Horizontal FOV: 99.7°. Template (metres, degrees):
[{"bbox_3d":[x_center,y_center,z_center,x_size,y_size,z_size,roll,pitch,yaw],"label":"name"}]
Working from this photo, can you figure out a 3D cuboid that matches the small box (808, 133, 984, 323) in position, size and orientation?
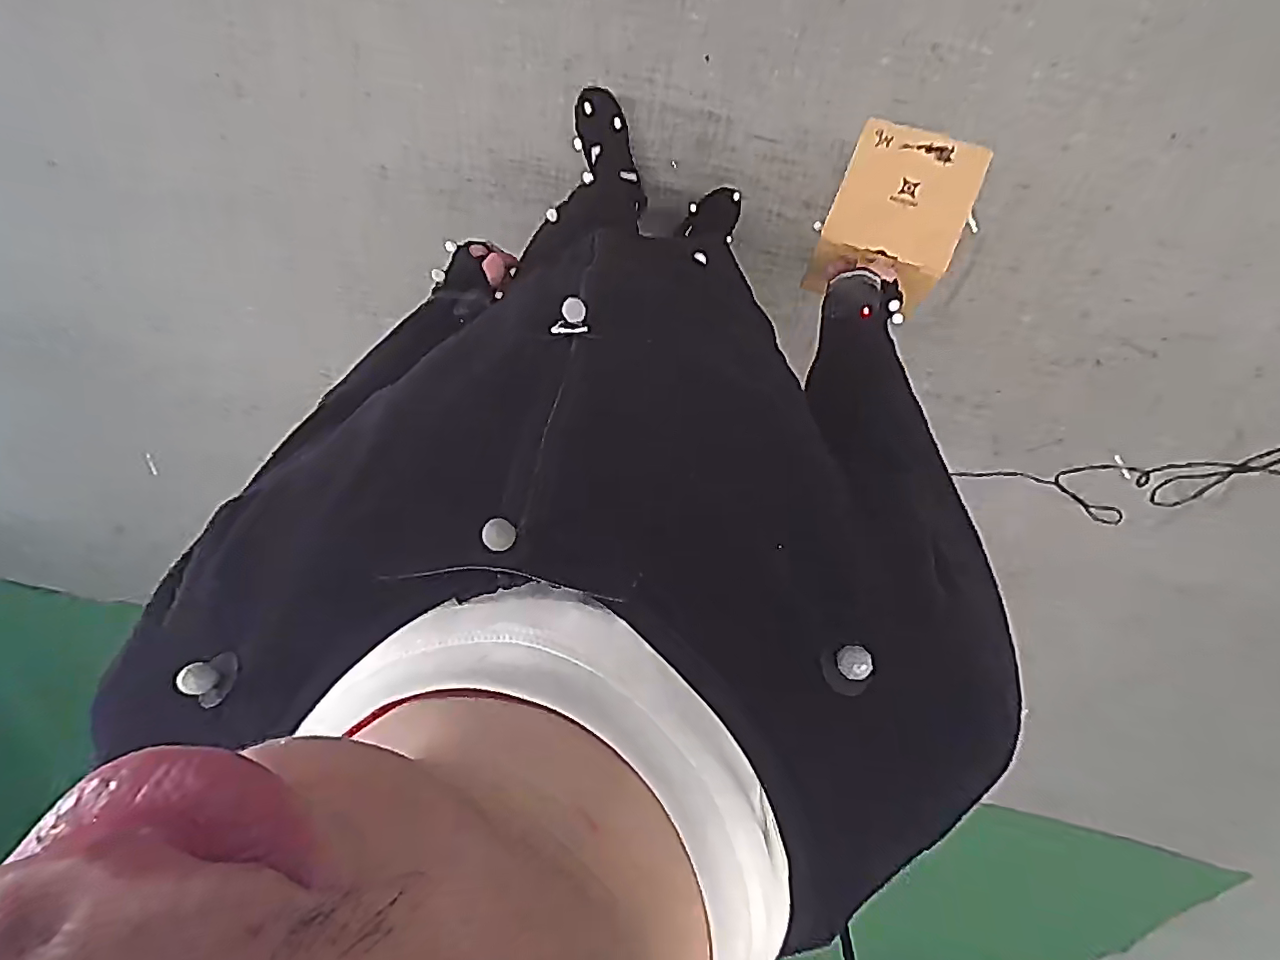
[{"bbox_3d":[0.355,-0.354,0.788,0.168,0.176,0.179,20,88,12],"label":"small box"}]
